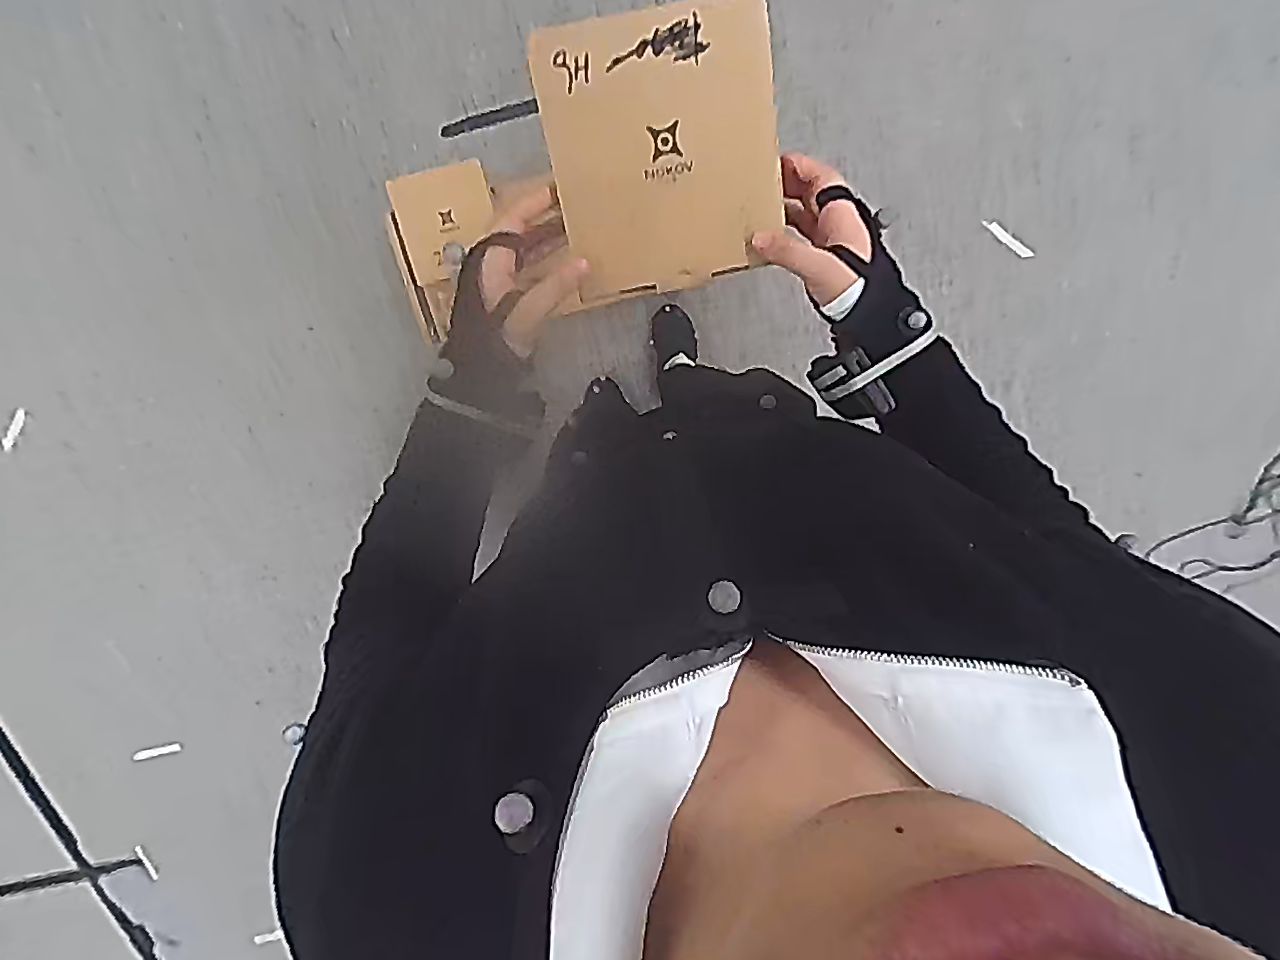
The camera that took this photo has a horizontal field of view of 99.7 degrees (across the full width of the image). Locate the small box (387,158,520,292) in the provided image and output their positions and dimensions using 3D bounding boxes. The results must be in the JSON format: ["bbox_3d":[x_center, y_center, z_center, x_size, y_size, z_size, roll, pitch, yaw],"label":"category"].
[{"bbox_3d":[-0.334,-0.462,1.005,0.168,0.176,0.179,-13,105,1],"label":"small box"}]

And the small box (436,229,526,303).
[{"bbox_3d":[-0.358,-0.493,1.166,0.168,0.176,0.179,-15,106,1],"label":"small box"}]
